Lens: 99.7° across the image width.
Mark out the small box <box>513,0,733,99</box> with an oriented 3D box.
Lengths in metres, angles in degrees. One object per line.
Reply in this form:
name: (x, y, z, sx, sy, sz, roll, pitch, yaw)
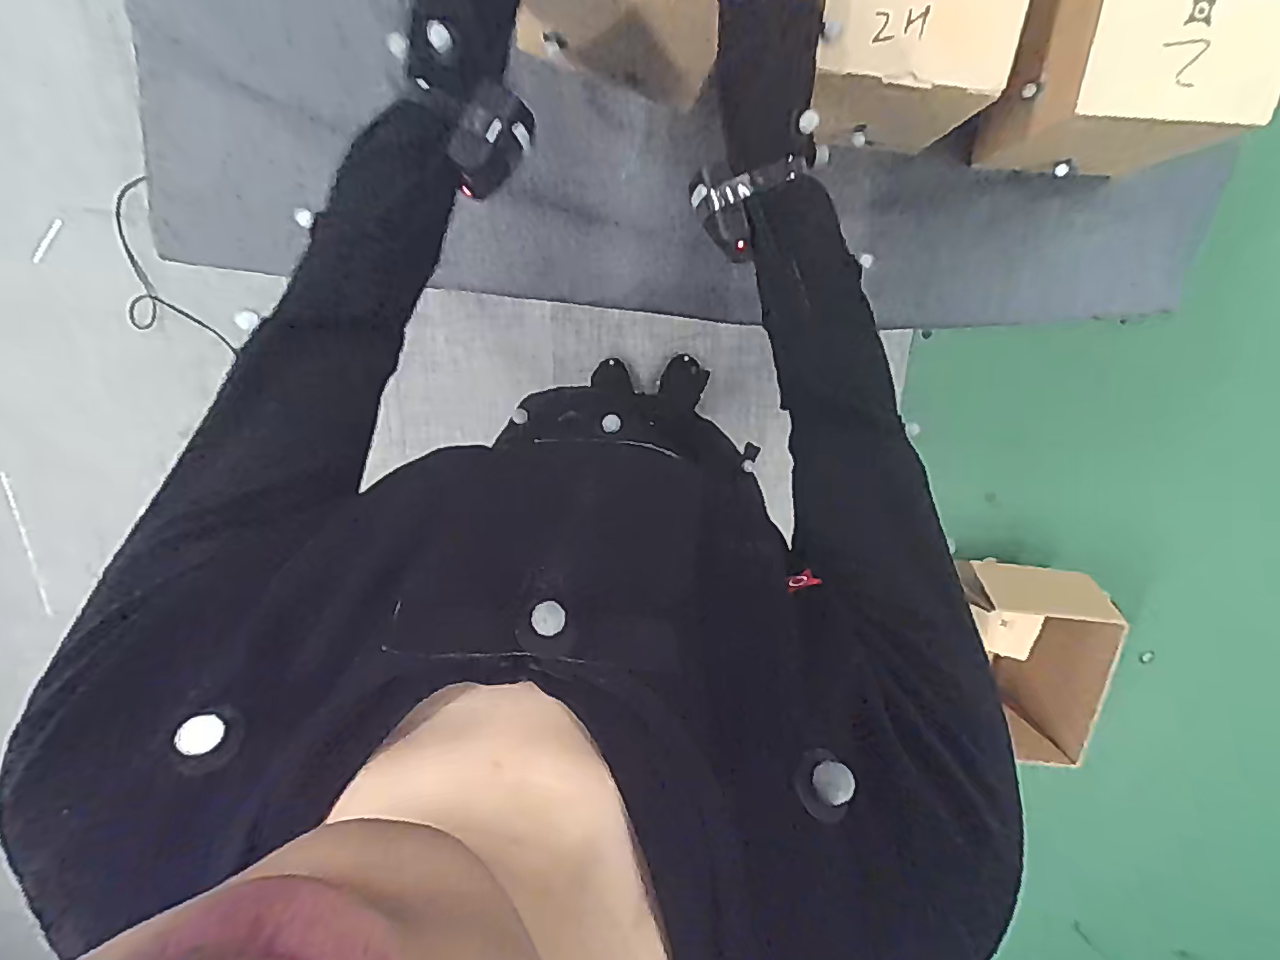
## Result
small box: (0.000, -0.441, 0.408, 0.168, 0.176, 0.179, 11, 92, -15)
